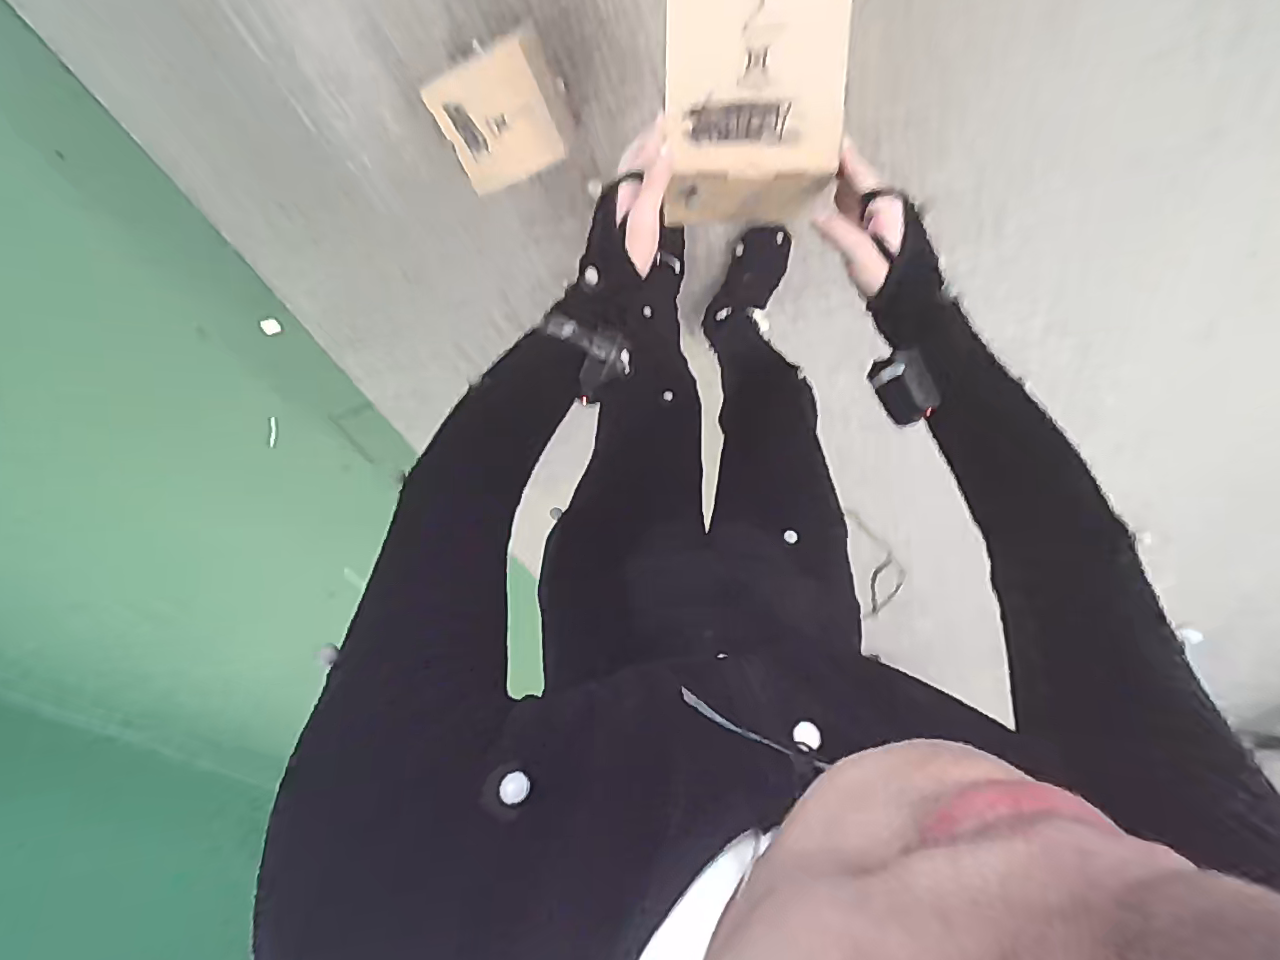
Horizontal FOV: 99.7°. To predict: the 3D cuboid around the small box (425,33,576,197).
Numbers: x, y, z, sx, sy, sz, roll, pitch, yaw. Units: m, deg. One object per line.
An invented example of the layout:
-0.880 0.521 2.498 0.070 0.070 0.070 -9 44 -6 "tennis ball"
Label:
-0.222 -0.617 0.915 0.179 0.176 0.168 -16 133 15 "small box"
